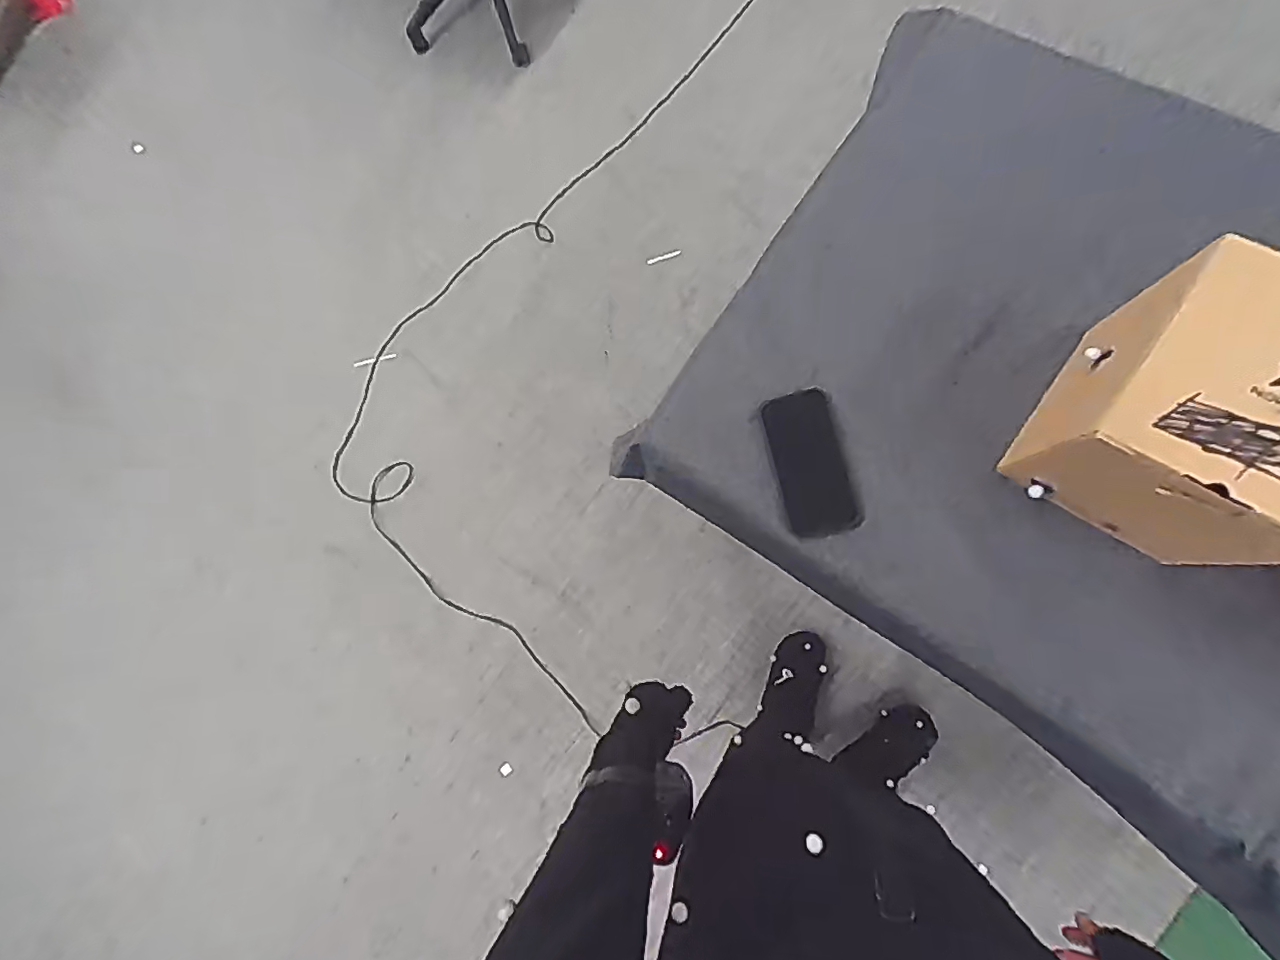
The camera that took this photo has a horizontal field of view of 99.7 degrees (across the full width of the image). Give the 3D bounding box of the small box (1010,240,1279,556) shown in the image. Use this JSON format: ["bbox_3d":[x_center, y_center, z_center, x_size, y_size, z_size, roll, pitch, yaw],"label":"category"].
[{"bbox_3d":[0.454,-0.049,0.450,0.168,0.176,0.179,34,89,14],"label":"small box"}]
